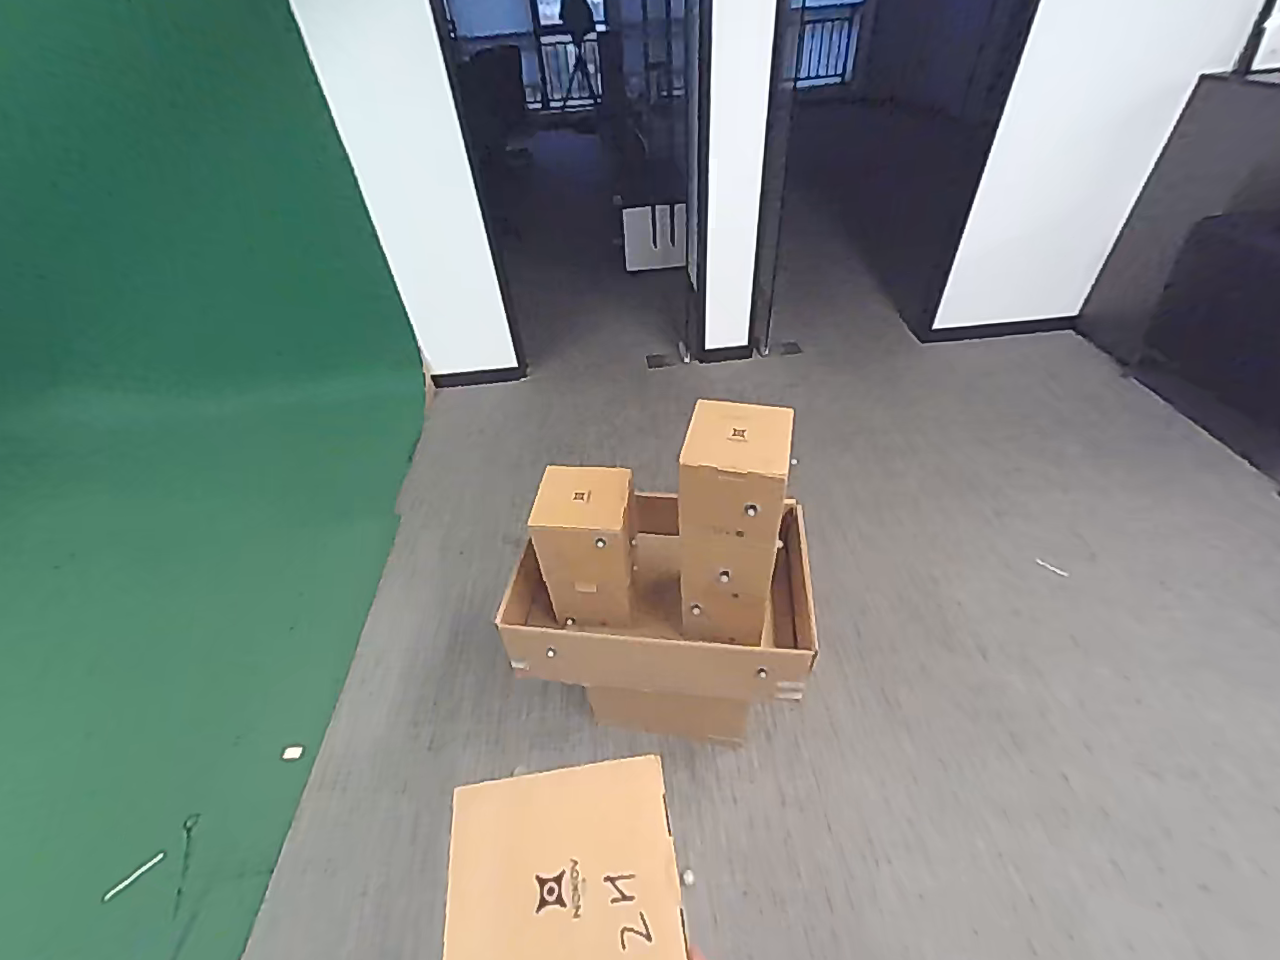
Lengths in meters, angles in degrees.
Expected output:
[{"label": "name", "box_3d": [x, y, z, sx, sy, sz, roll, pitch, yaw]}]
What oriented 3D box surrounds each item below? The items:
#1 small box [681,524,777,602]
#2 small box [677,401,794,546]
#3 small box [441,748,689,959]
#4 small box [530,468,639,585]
[{"label": "small box", "box_3d": [0.176, 0.110, 1.030, 0.168, 0.176, 0.179, 7, 45, 13]}, {"label": "small box", "box_3d": [0.164, -0.010, 0.920, 0.168, 0.176, 0.179, 8, 43, 13]}, {"label": "small box", "box_3d": [-0.056, 0.353, 0.472, 0.179, 0.176, 0.168, -8, 52, -2]}, {"label": "small box", "box_3d": [-0.101, 0.094, 1.080, 0.179, 0.176, 0.168, 2, 43, 7]}]
